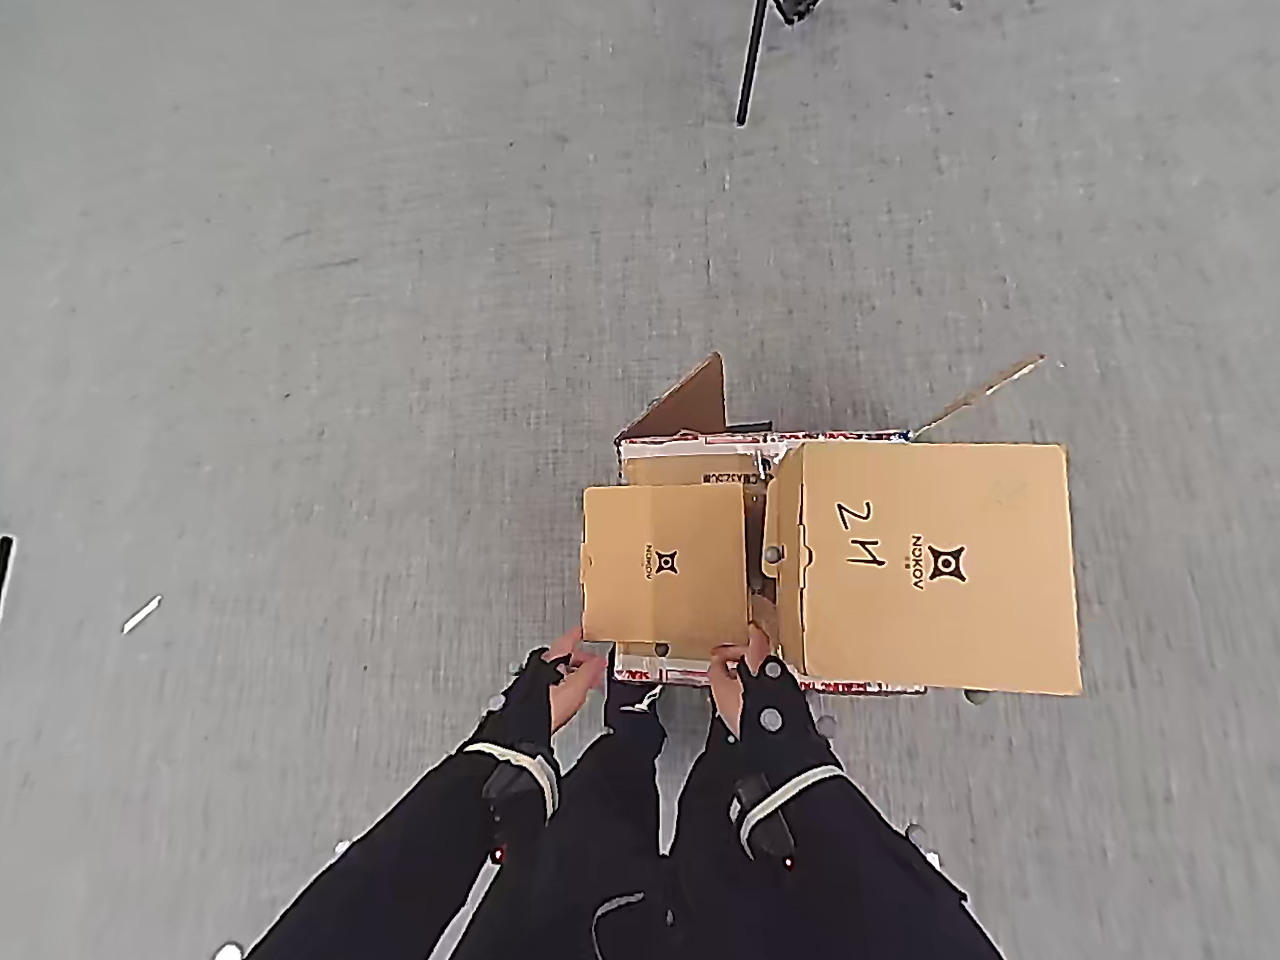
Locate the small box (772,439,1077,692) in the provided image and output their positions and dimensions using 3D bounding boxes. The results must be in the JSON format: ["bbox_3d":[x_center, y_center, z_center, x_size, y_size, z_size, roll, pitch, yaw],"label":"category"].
[{"bbox_3d":[0.208,0.064,0.445,0.179,0.176,0.168,1,82,9],"label":"small box"}]
